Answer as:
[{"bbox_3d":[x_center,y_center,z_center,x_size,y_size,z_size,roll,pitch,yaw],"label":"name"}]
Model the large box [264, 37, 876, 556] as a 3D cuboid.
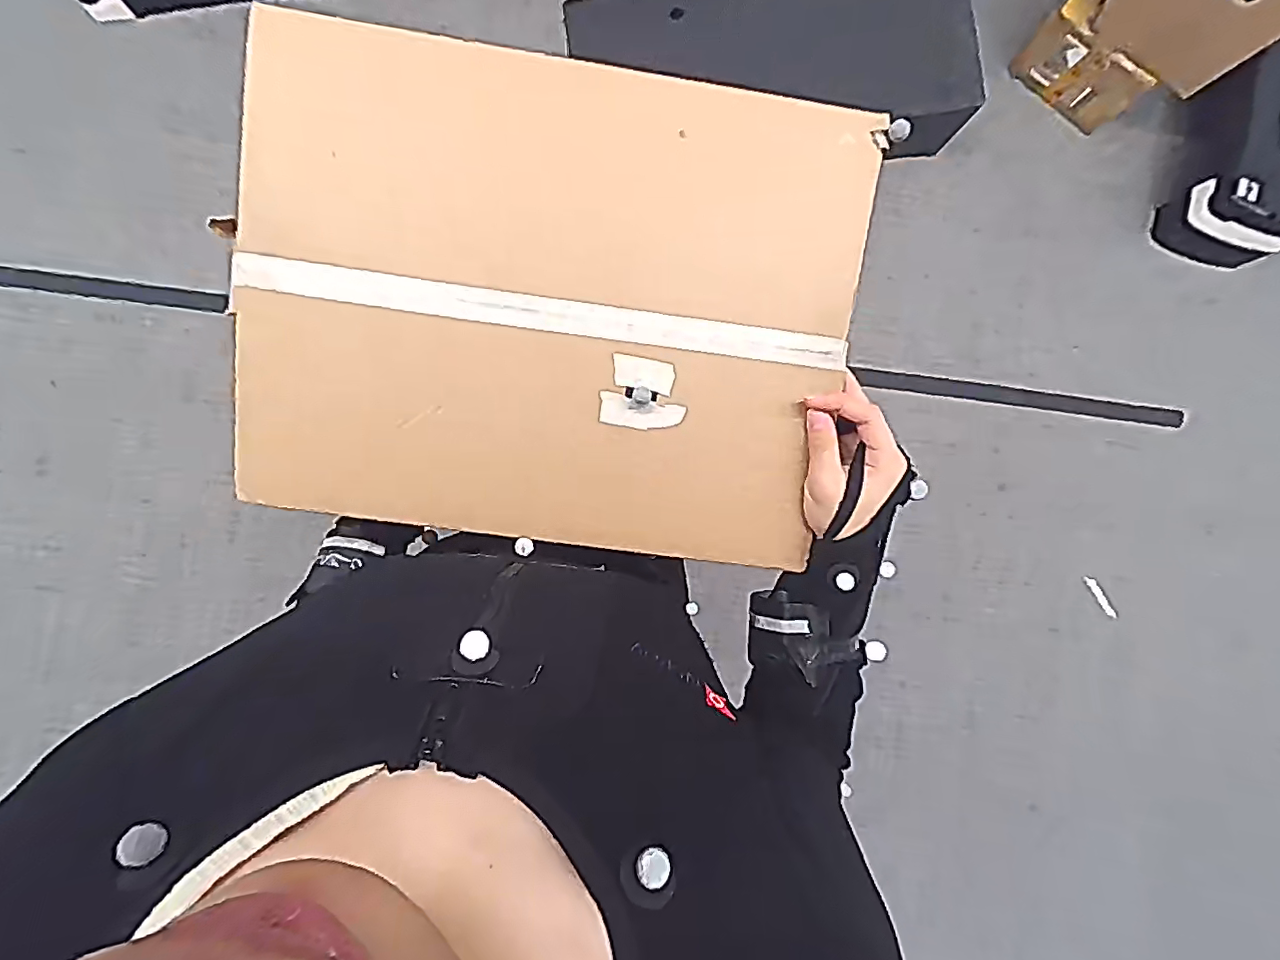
[{"bbox_3d":[-0.060,-0.132,0.522,0.408,0.320,0.320,7,98,-4],"label":"large box"}]
